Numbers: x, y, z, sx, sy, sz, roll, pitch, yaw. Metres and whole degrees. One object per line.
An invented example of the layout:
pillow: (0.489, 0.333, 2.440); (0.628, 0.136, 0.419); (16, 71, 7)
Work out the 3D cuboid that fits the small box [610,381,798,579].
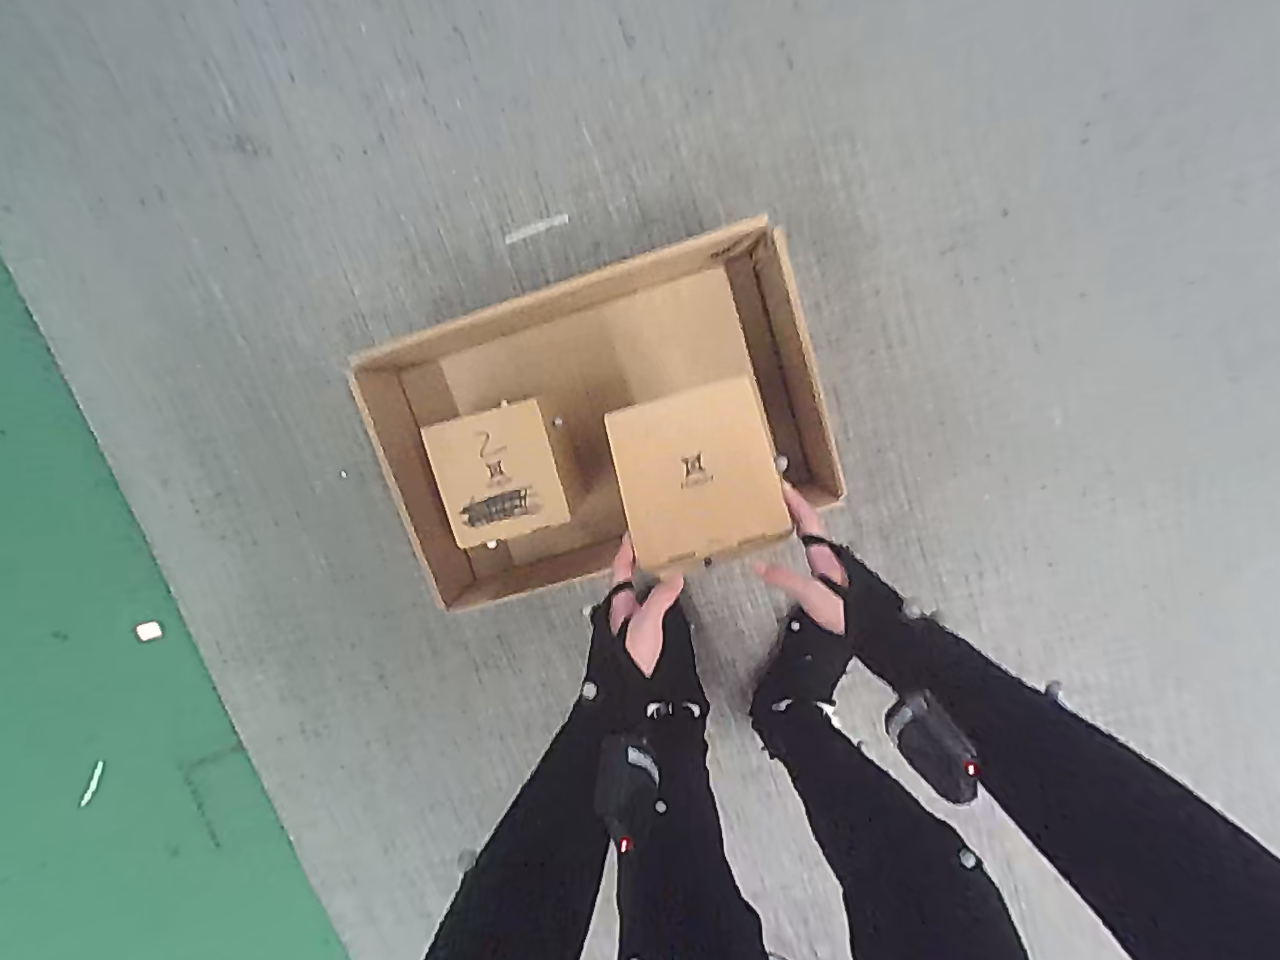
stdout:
small box: (0.073, 0.012, 0.644); (0.168, 0.176, 0.179); (-15, 74, 6)
